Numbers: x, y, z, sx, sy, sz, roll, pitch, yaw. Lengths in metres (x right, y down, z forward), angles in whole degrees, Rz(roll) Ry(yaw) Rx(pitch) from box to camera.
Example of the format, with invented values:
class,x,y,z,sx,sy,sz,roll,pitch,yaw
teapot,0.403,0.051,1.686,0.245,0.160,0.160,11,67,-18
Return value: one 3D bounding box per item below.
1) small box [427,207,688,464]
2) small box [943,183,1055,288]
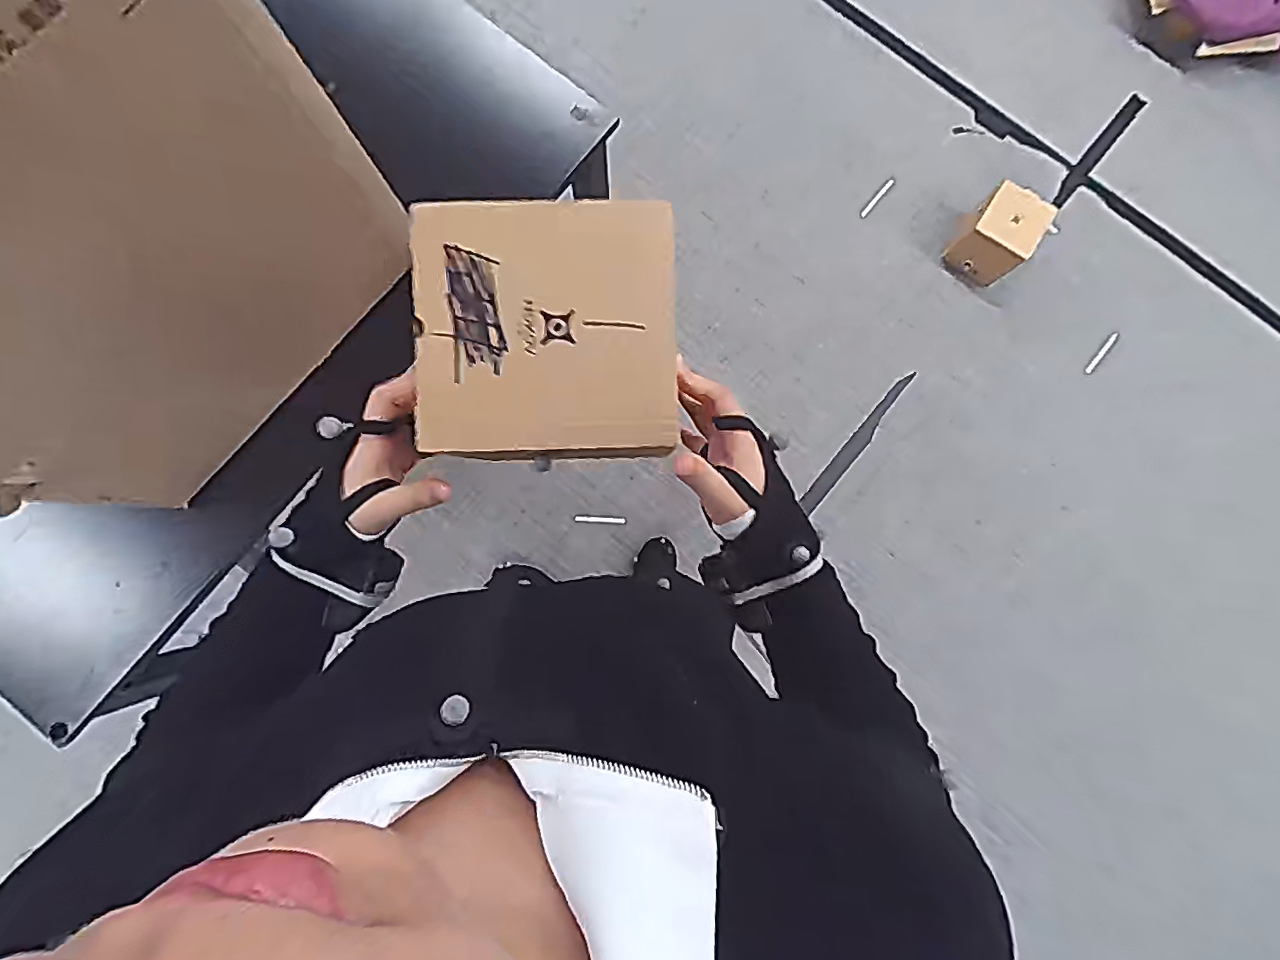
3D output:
class,x,y,z,sx,sy,sz,roll,pitch,yaw
small box,-0.054,-0.099,0.440,0.179,0.176,0.168,-1,90,0
small box,1.006,-0.685,1.532,0.168,0.176,0.179,33,86,3
